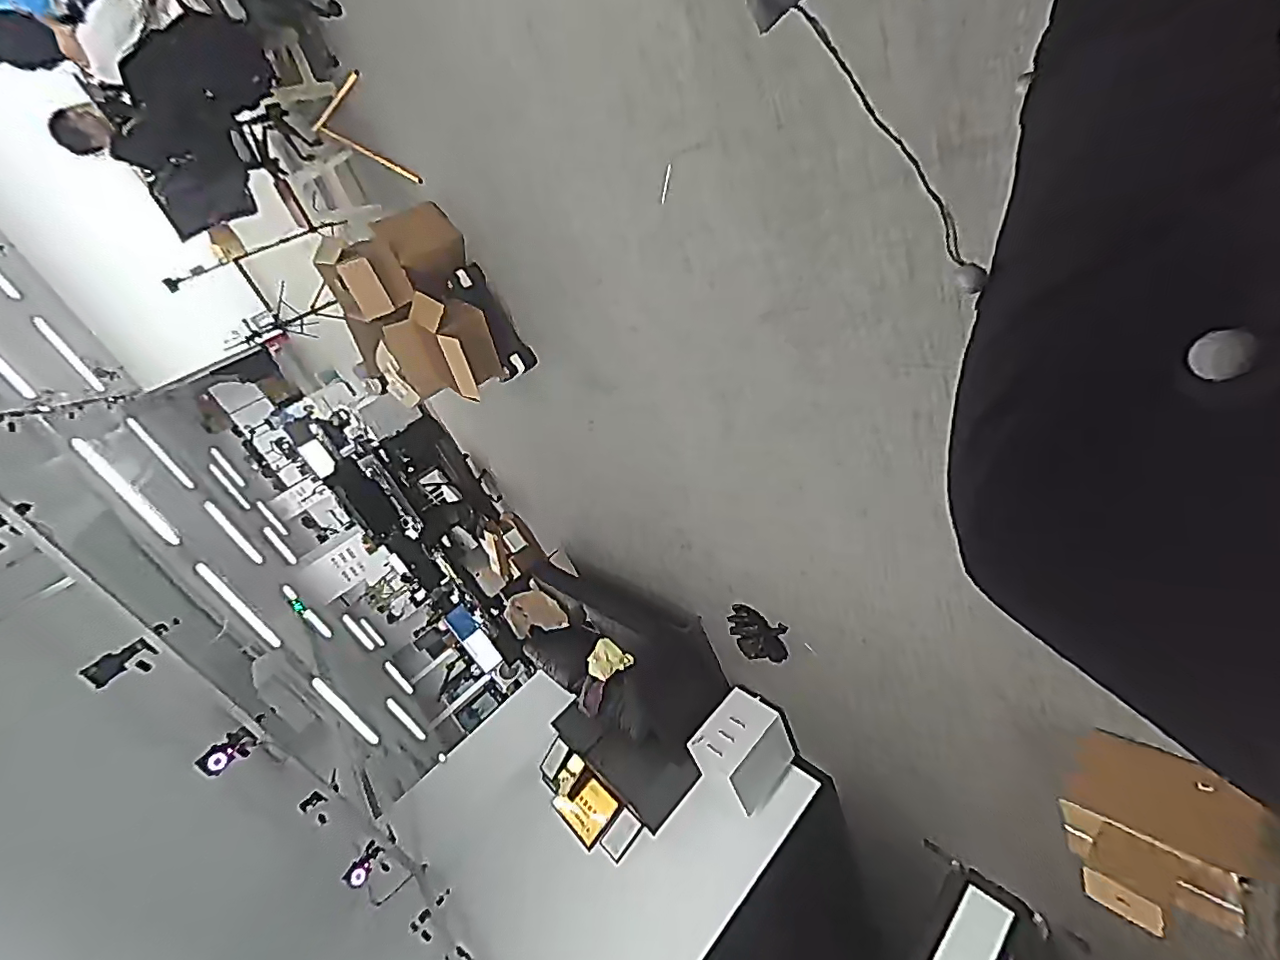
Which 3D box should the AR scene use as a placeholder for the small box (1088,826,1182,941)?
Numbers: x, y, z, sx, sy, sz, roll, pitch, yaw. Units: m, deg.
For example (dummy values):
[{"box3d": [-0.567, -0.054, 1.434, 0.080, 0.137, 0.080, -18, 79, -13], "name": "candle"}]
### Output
[{"box3d": [1.446, 1.165, 1.577, 0.179, 0.176, 0.168, 11, 131, 54], "name": "small box"}]
